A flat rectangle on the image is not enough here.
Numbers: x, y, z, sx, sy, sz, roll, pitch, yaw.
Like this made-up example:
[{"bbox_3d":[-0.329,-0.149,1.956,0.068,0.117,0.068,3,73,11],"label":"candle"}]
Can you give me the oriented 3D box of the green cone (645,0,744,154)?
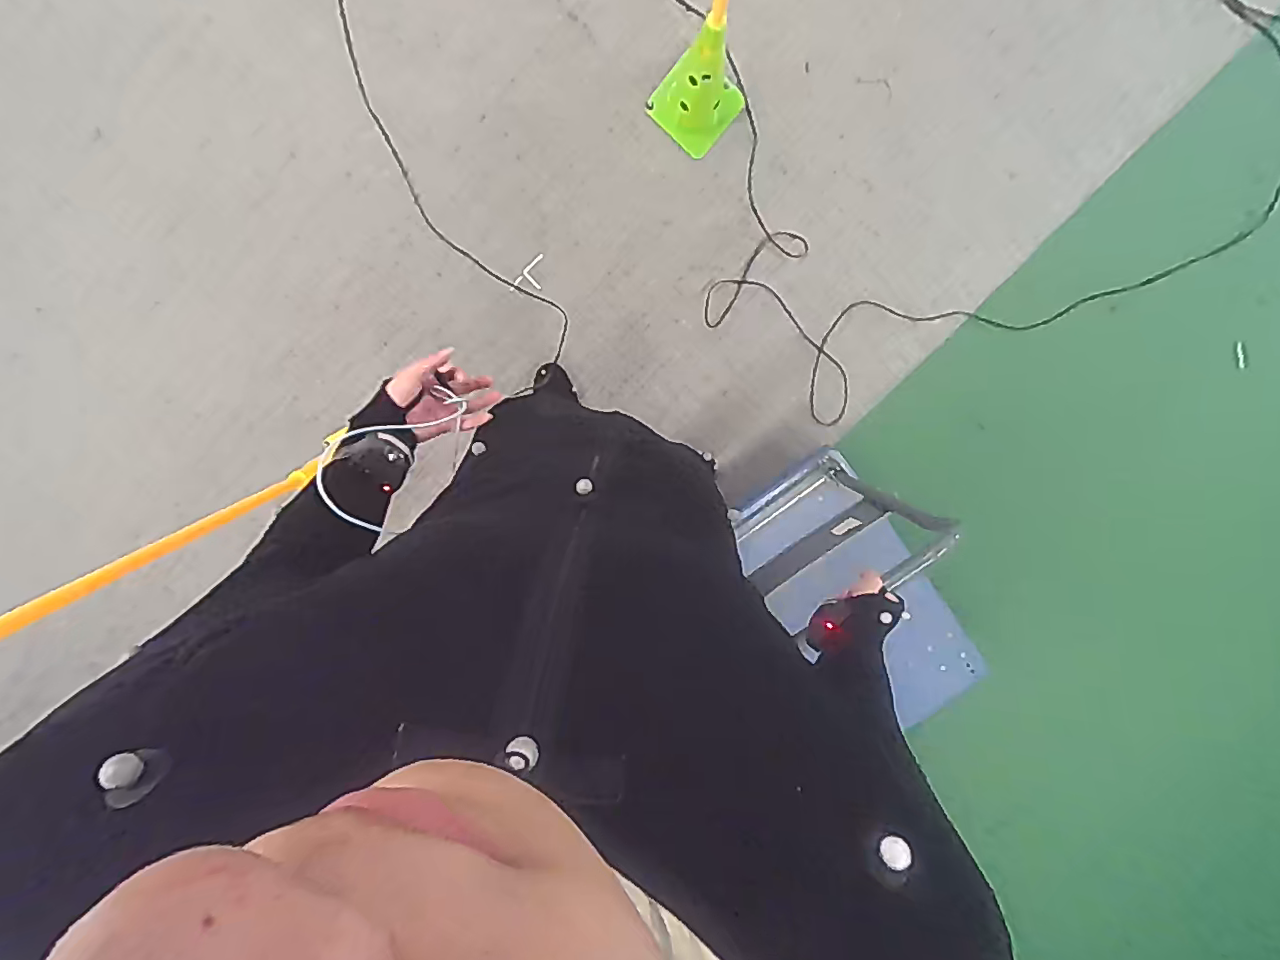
[{"bbox_3d":[0.150,-0.954,1.237,0.200,0.368,0.202,39,97,-9],"label":"green cone"}]
